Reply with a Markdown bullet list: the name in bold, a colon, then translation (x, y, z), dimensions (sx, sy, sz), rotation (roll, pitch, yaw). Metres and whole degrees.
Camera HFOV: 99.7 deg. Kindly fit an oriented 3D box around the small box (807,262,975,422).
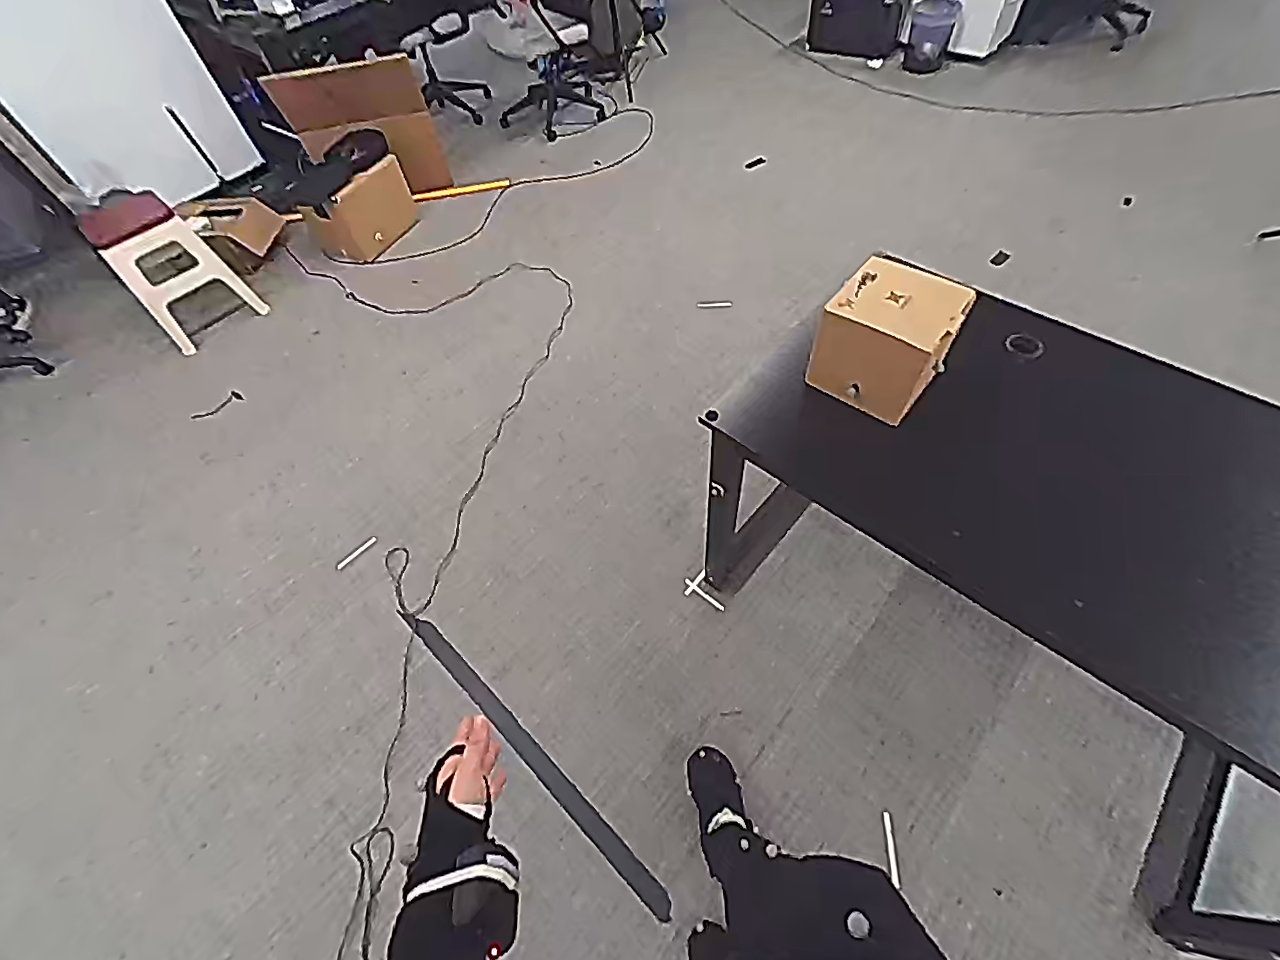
- **small box**: translation (0.409, -0.224, 0.908), dimensions (0.179, 0.176, 0.168), rotation (34, 65, 23)
